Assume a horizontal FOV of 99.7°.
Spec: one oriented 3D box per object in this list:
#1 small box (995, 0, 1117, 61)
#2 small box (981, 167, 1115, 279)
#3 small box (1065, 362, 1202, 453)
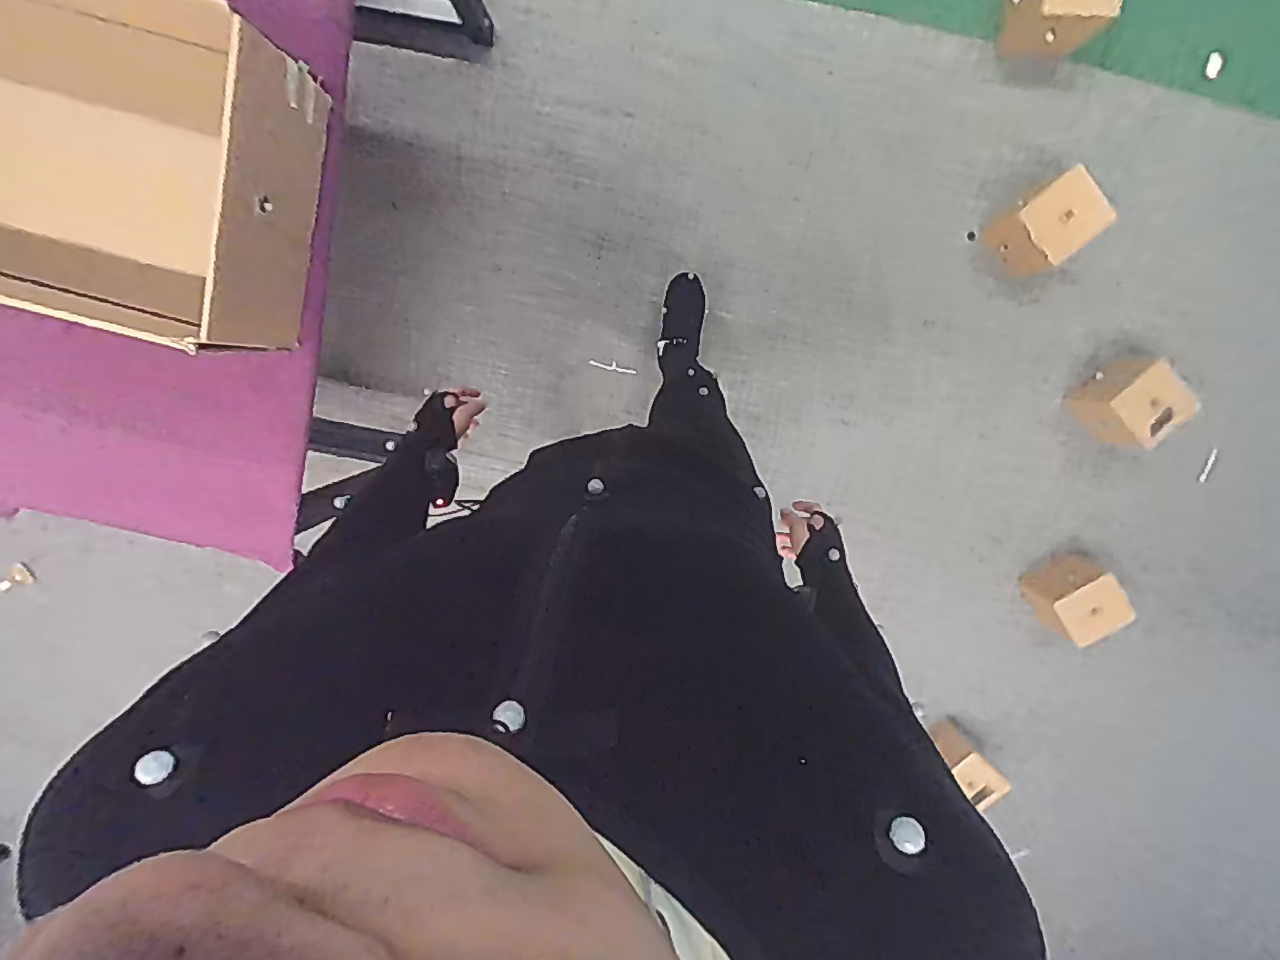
[{"bbox_3d":[0.979,-1.126,1.275,0.179,0.176,0.168,2,101,2],"label":"small box"},{"bbox_3d":[1.022,-0.641,1.371,0.179,0.176,0.168,-41,97,10],"label":"small box"},{"bbox_3d":[1.311,-0.200,1.449,0.179,0.176,0.168,45,99,-6],"label":"small box"}]
